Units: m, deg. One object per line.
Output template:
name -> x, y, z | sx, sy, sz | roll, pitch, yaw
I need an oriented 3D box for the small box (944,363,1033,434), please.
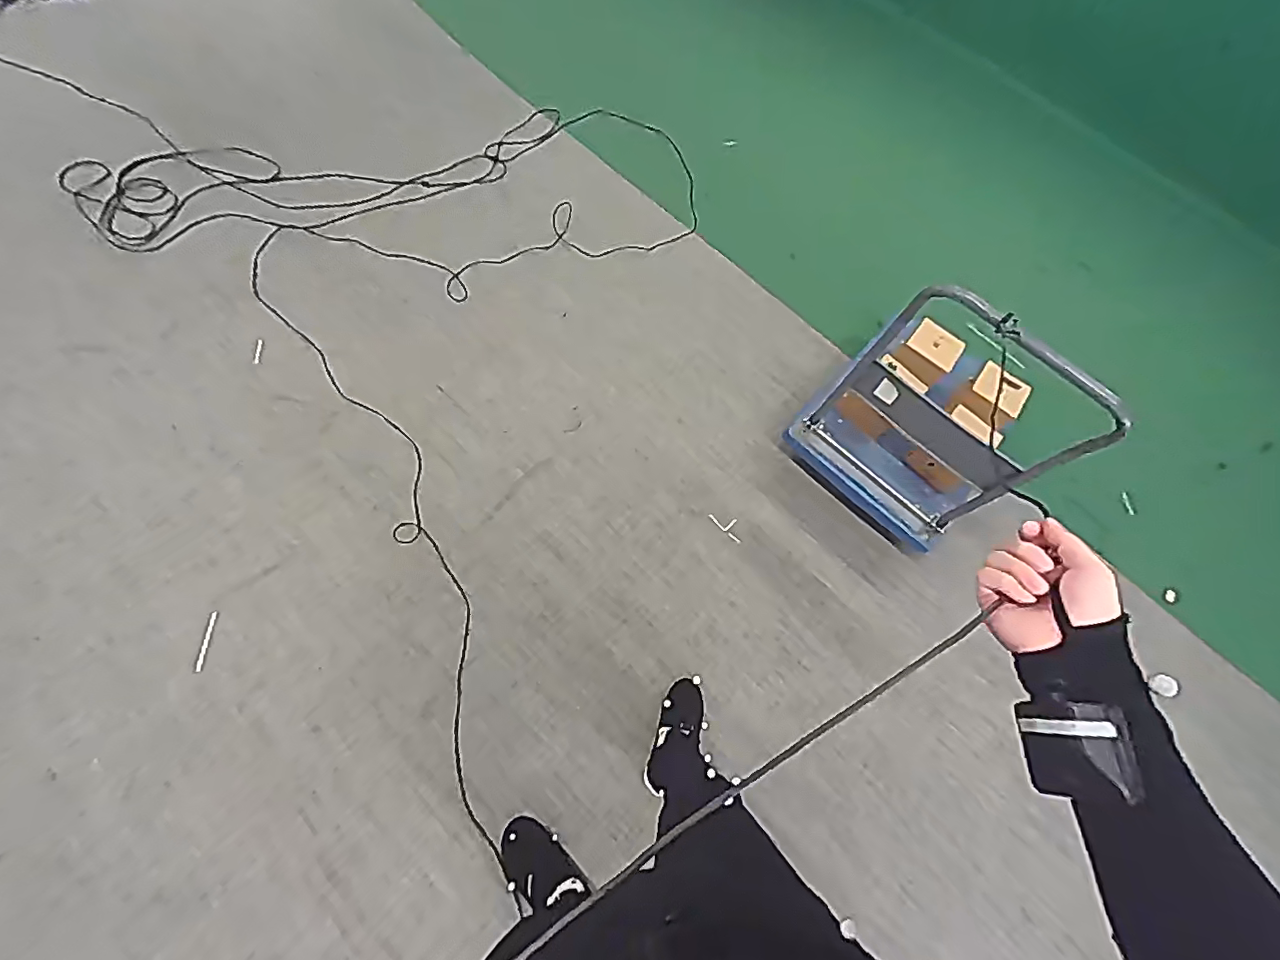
small box -> 1.180, -0.258, 1.842 | 0.168, 0.176, 0.179 | 39, 63, 10

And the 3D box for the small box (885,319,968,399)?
small box -> 0.987, -0.415, 1.881 | 0.168, 0.176, 0.179 | 40, 62, 8

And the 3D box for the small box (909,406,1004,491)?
small box -> 0.999, -0.097, 1.723 | 0.168, 0.176, 0.179 | 44, 64, 11
